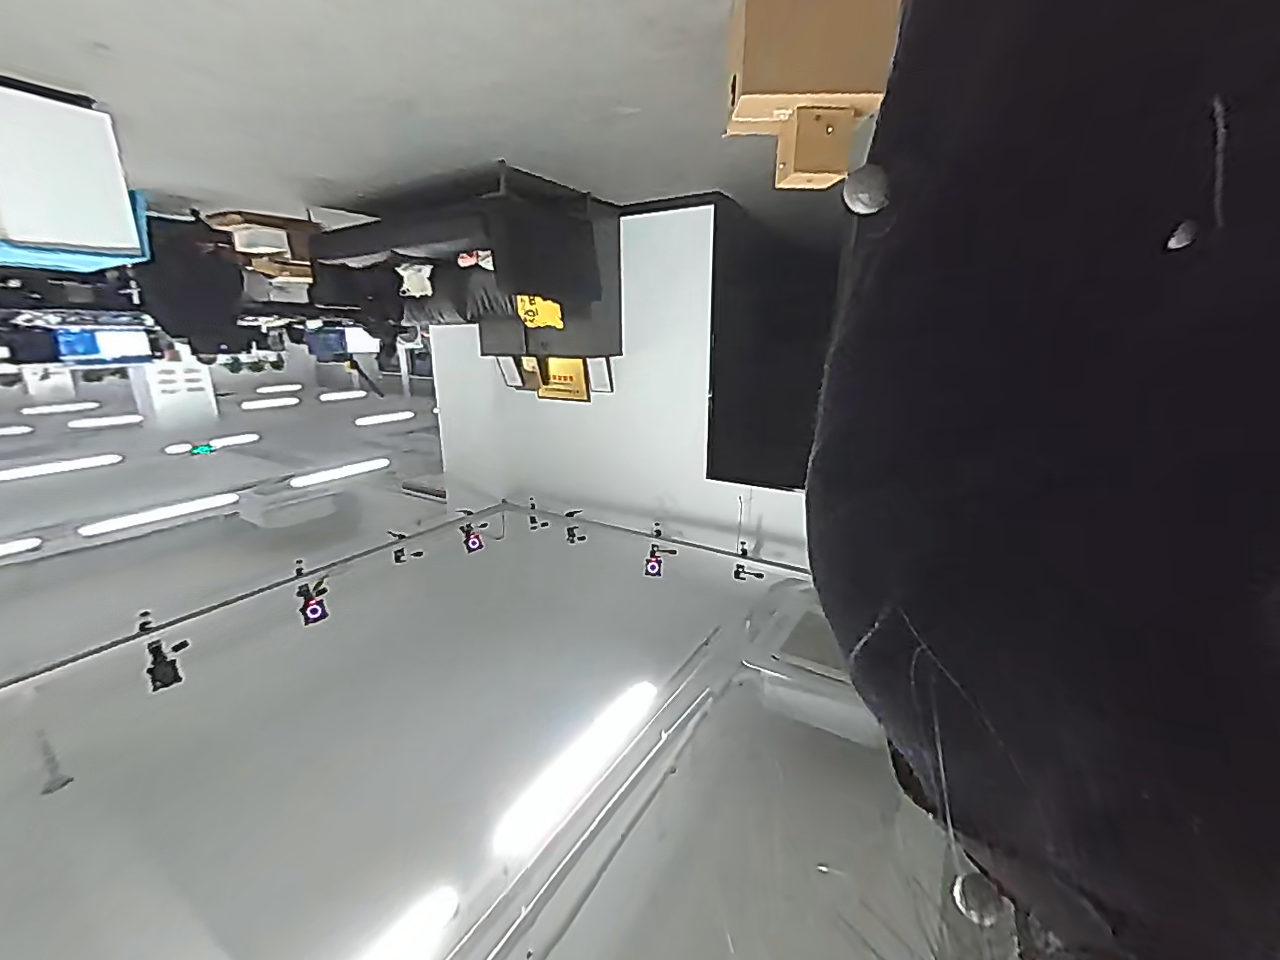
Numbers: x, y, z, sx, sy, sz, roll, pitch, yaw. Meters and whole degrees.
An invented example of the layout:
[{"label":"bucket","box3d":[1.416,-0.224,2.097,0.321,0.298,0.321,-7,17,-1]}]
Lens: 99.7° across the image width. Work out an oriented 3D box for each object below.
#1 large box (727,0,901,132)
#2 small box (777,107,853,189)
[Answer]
[{"label":"large box","box3d":[0.474,-1.213,1.535,0.408,0.320,0.320,2,-165,1]},{"label":"small box","box3d":[0.519,-0.980,1.608,0.168,0.176,0.179,-1,-164,-3]}]
